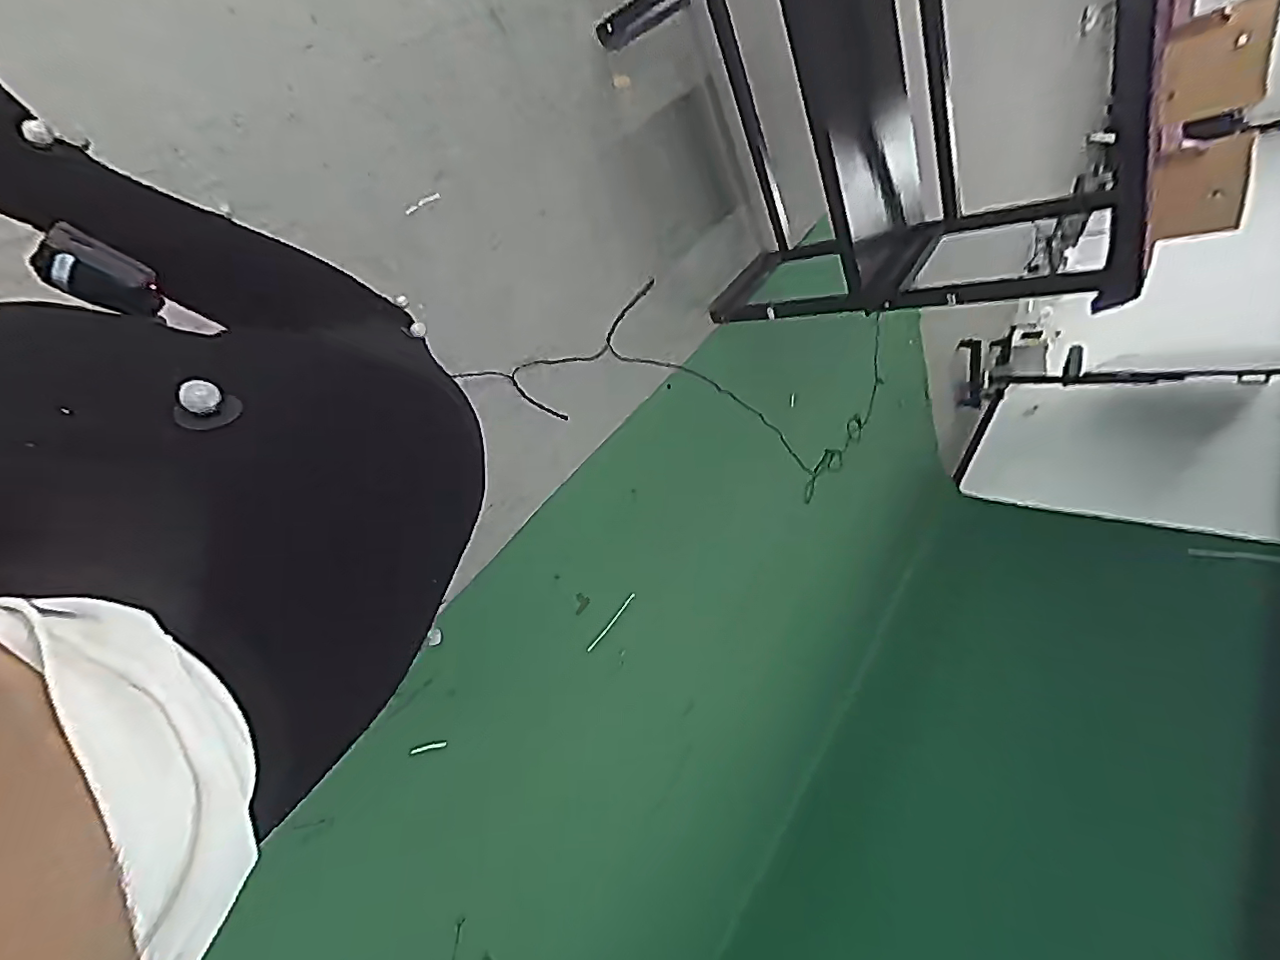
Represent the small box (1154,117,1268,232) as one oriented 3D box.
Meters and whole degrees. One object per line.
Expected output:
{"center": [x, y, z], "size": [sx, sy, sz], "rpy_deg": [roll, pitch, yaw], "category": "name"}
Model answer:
{"center": [1.379, -0.734, 1.313], "size": [0.168, 0.176, 0.179], "rpy_deg": [-45, 125, -27], "category": "small box"}
